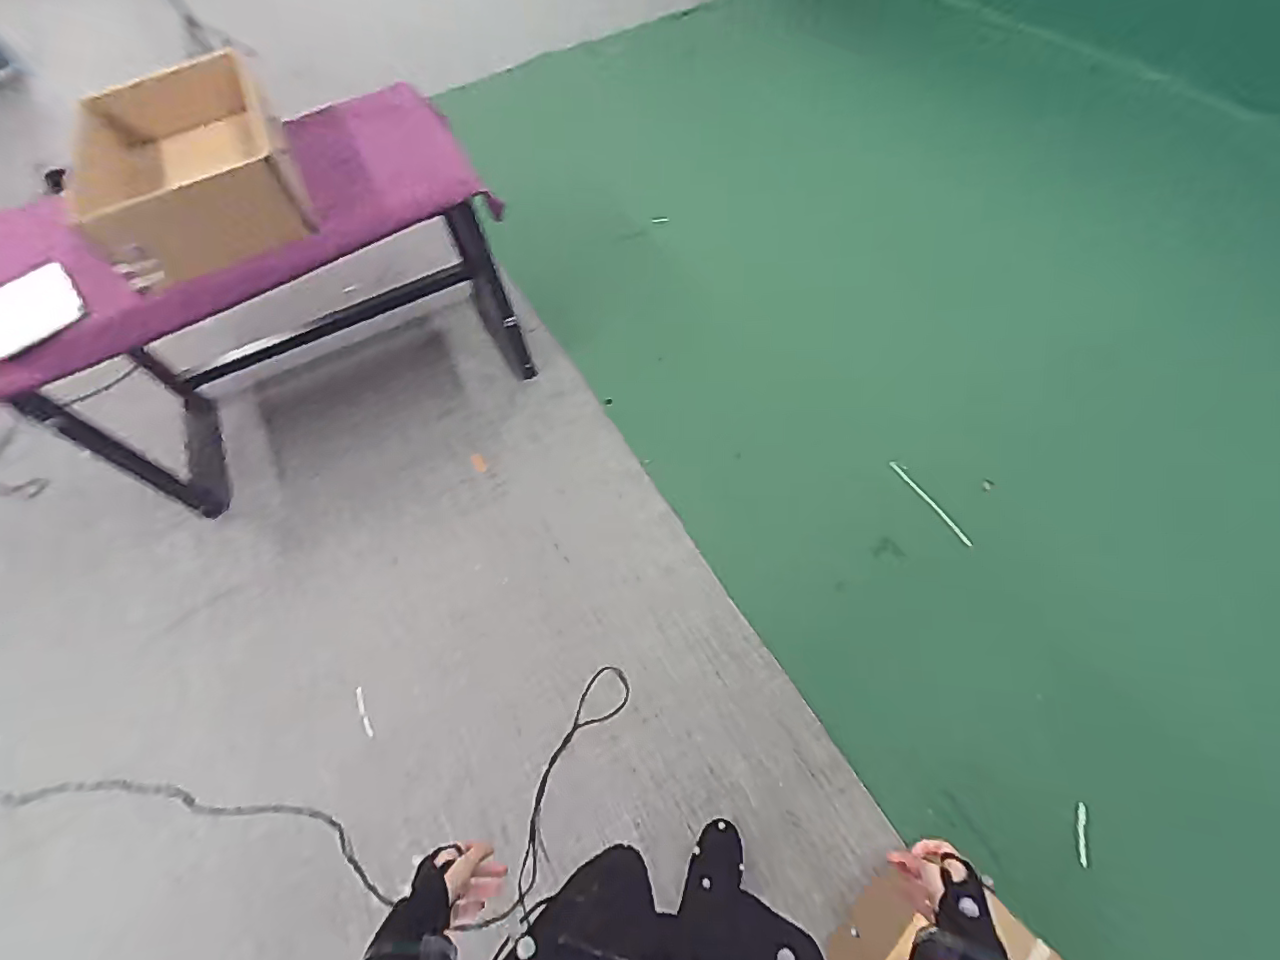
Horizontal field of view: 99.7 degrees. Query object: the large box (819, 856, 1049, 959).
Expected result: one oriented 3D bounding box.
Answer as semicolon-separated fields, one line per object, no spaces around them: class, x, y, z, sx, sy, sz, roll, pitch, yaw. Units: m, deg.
large box;0.499;0.948;0.928;0.408;0.320;0.320;-40;65;-19
